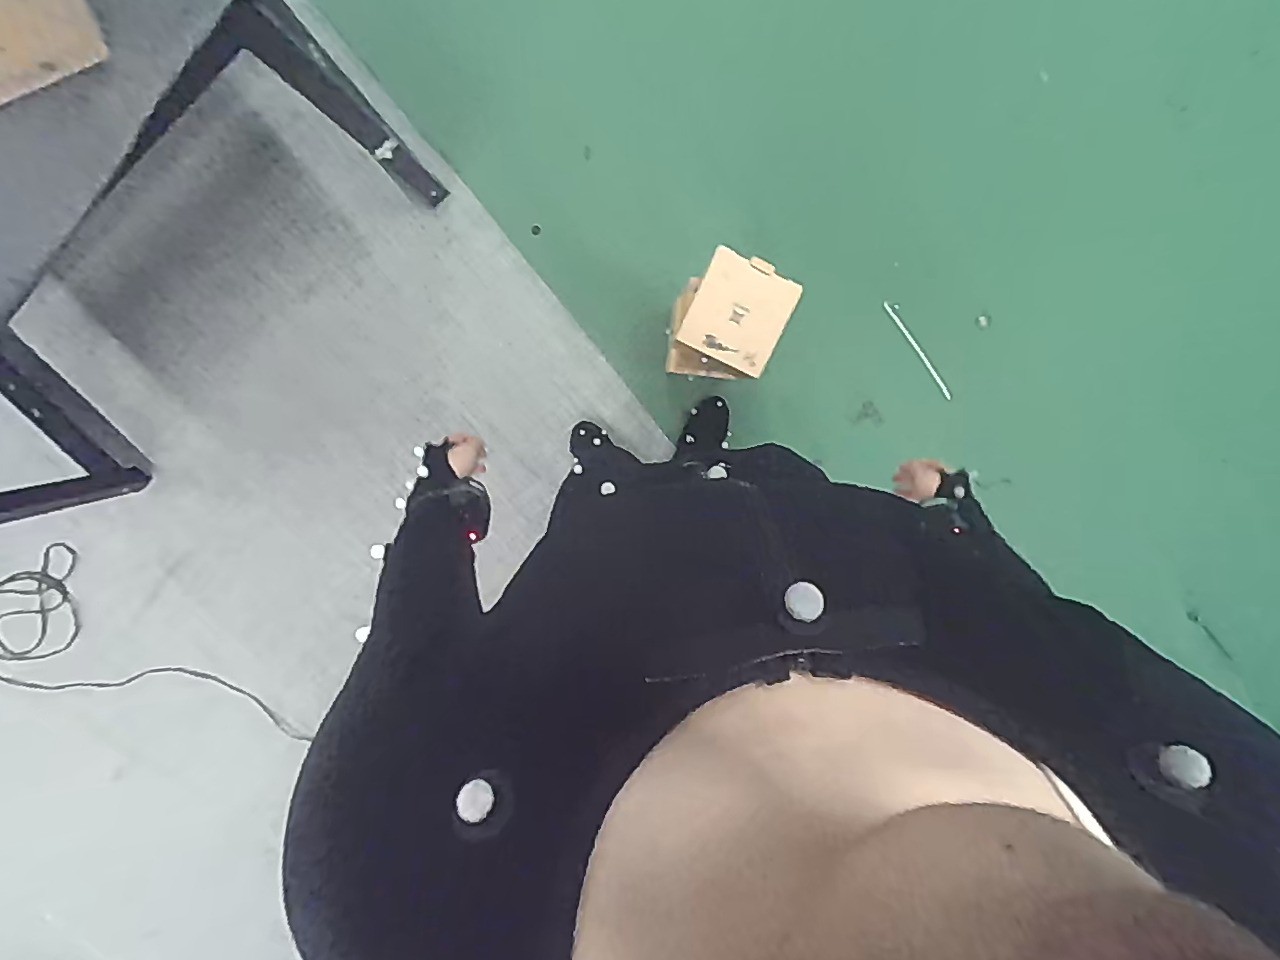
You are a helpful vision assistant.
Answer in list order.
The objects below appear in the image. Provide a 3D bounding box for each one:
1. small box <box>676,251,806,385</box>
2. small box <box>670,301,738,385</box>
[{"bbox_3d":[0.175,-0.291,1.009,0.168,0.176,0.179,25,99,-4],"label":"small box"},{"bbox_3d":[0.165,-0.332,1.335,0.168,0.176,0.179,6,100,-1],"label":"small box"}]
